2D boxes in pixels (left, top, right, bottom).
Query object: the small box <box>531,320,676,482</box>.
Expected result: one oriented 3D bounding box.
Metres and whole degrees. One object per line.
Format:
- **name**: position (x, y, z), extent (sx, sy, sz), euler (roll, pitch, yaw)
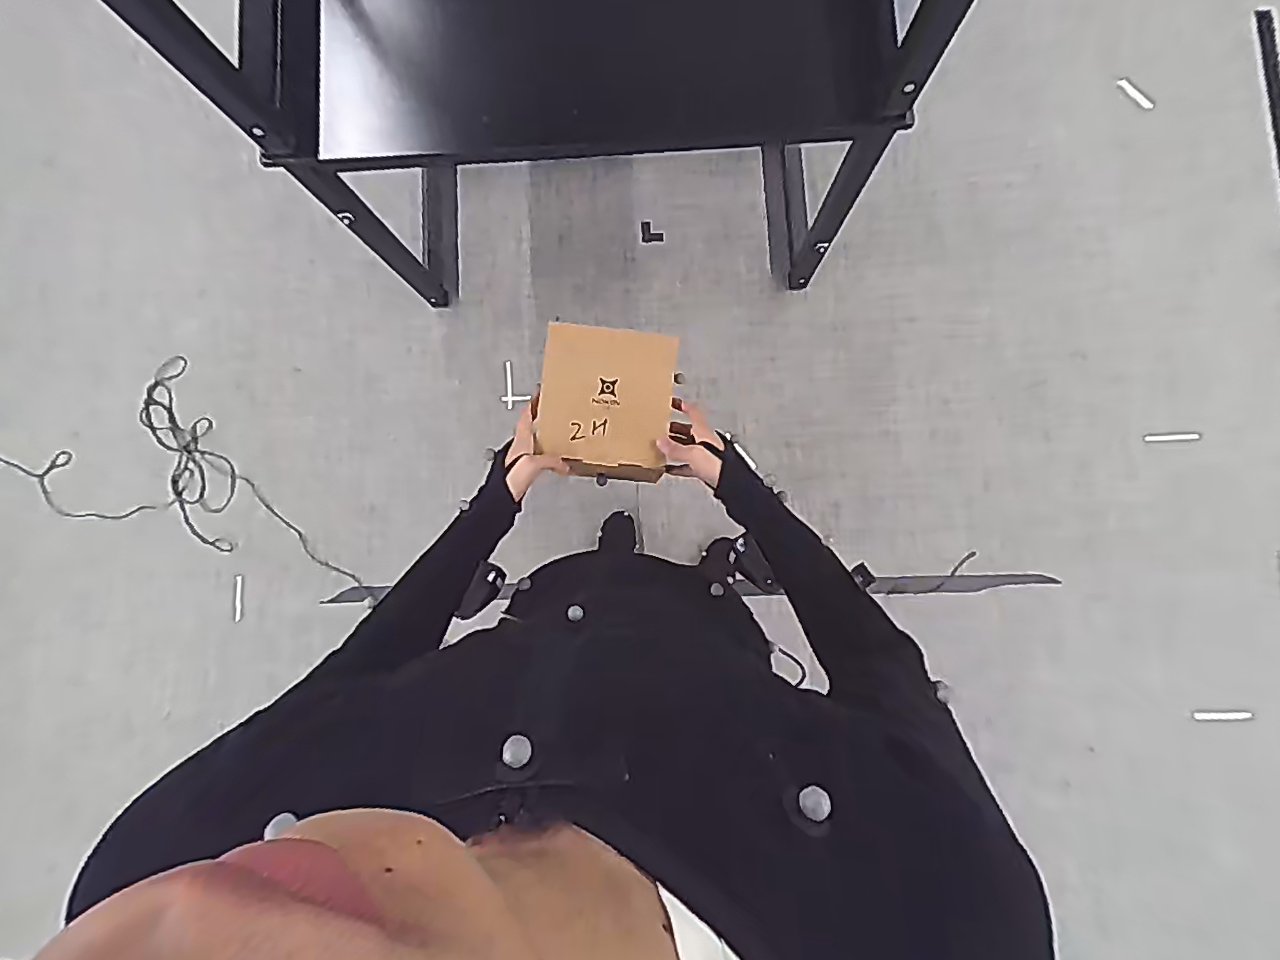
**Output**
- **small box**: position (-0.047, -0.098, 0.746), extent (0.168, 0.176, 0.179), euler (5, 84, -1)
